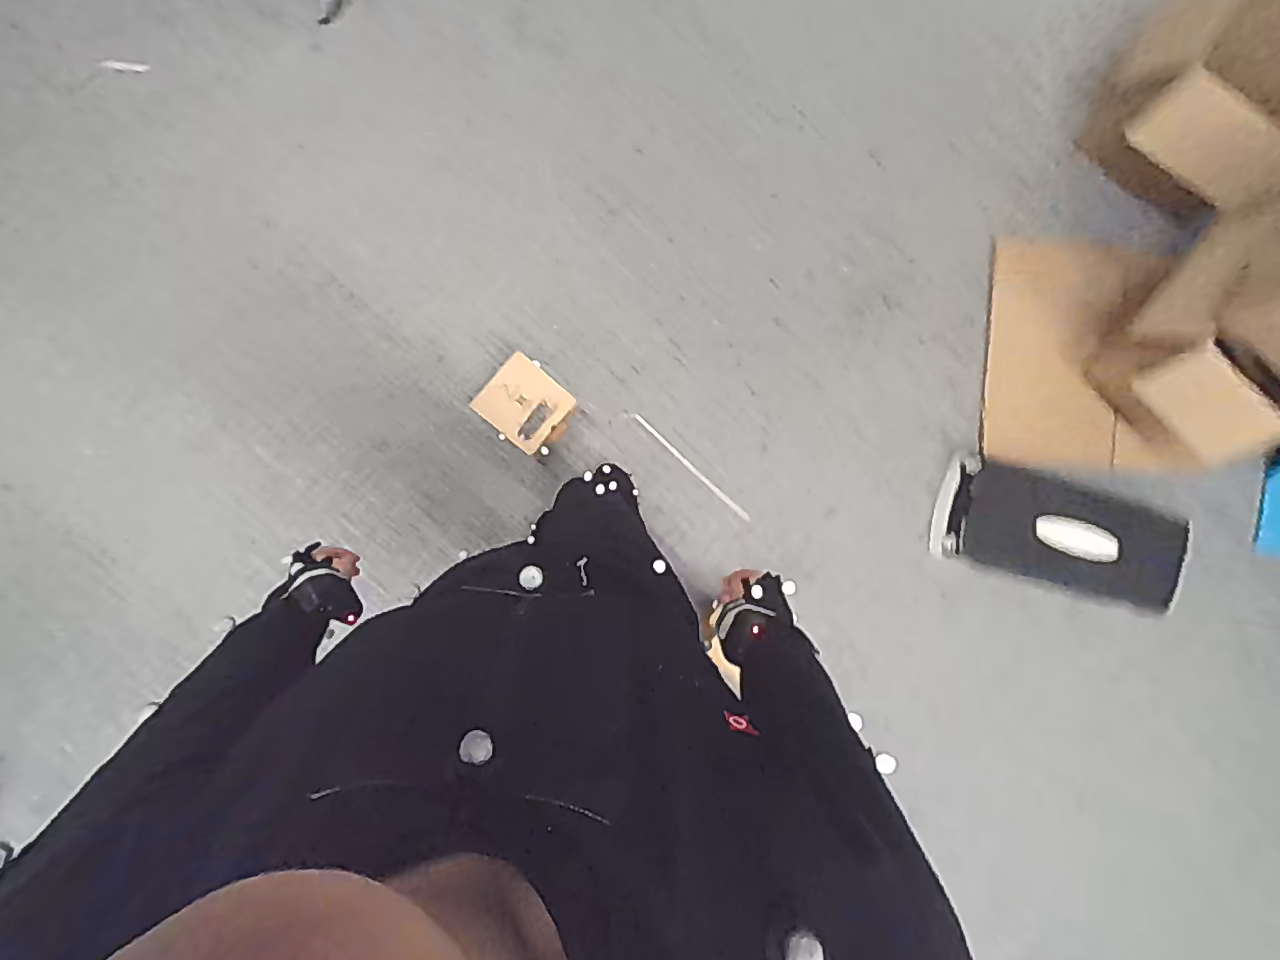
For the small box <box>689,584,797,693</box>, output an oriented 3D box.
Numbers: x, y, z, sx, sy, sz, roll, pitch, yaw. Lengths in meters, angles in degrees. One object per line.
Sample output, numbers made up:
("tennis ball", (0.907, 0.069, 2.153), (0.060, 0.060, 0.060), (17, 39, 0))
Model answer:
("small box", (0.246, 0.381, 1.333), (0.179, 0.176, 0.168), (41, 87, -5))
